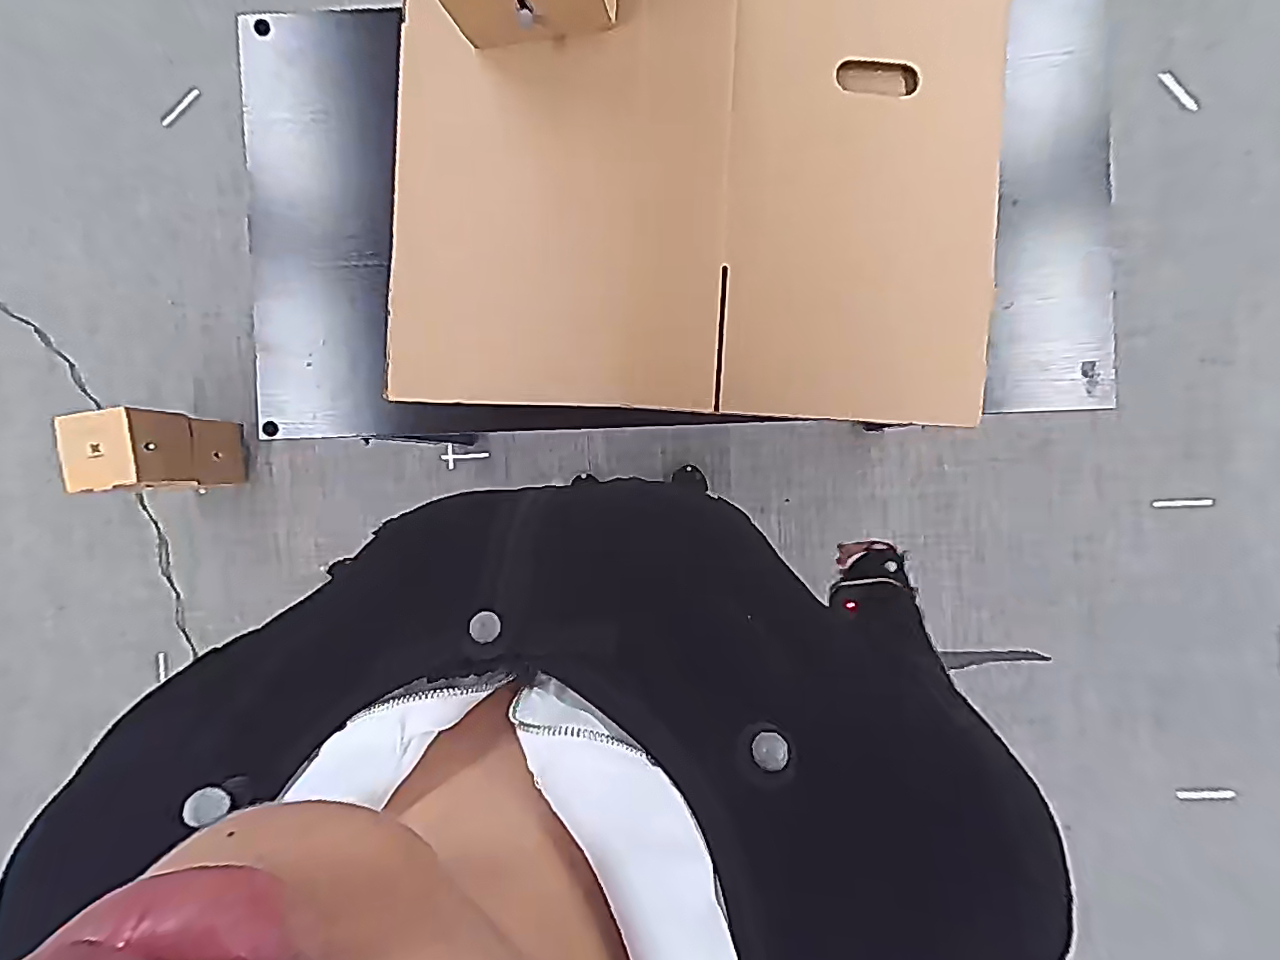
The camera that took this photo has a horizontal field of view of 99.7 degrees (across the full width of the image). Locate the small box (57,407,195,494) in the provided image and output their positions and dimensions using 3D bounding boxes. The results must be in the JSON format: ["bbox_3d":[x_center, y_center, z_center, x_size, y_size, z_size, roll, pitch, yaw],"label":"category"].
[{"bbox_3d":[-1.208,-0.068,1.285,0.168,0.176,0.179,-9,90,1],"label":"small box"}]

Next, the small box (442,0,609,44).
[{"bbox_3d":[-0.124,-0.573,0.524,0.179,0.176,0.168,5,91,14],"label":"small box"}]

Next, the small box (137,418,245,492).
[{"bbox_3d":[-1.203,-0.064,1.448,0.168,0.176,0.179,-6,92,2],"label":"small box"}]
